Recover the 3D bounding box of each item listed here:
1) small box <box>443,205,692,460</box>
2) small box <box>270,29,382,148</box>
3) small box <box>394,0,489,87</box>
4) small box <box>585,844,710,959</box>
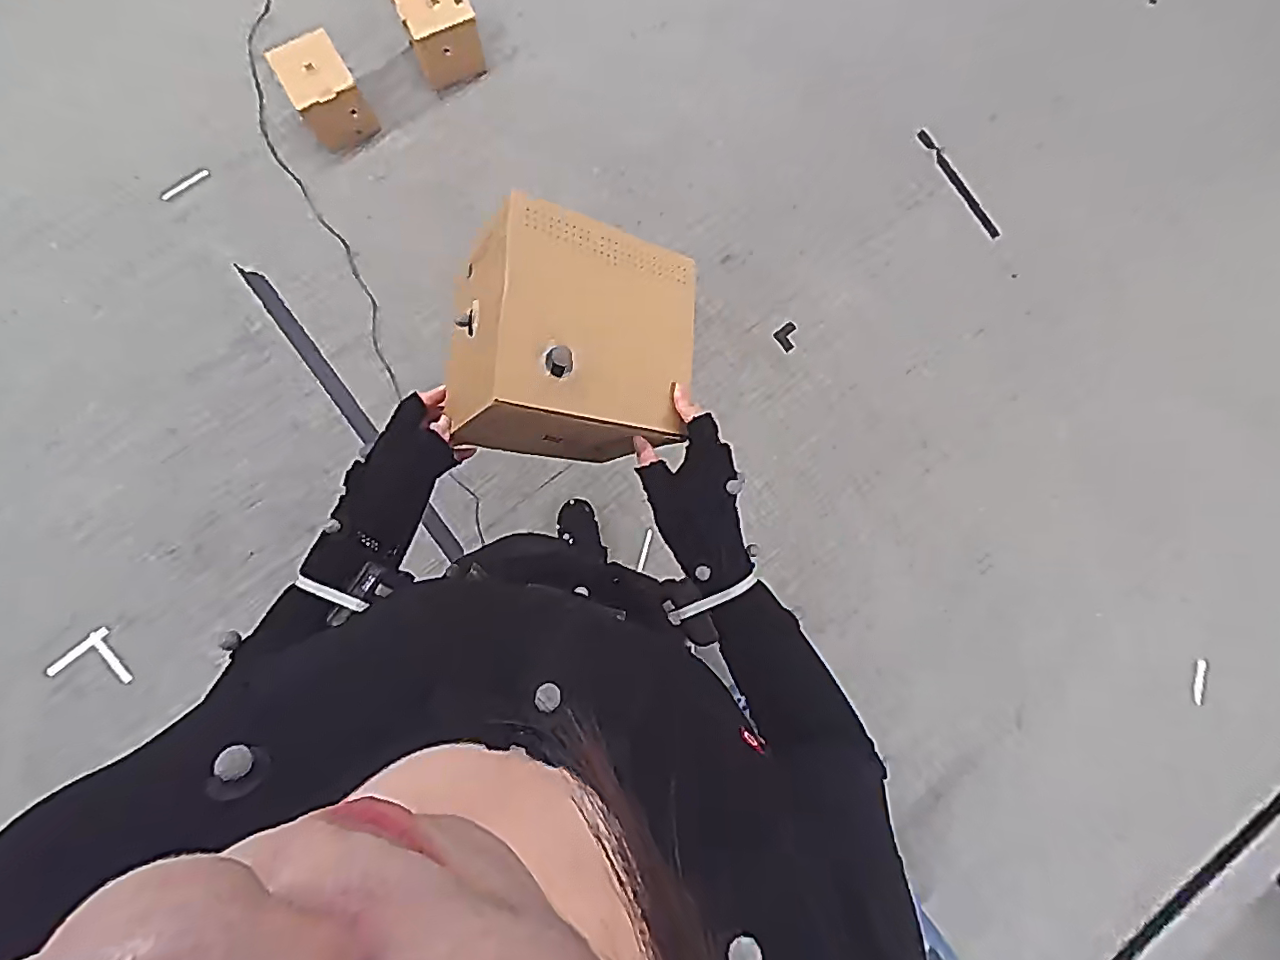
[{"bbox_3d":[-0.068,-0.121,0.502,0.179,0.168,0.176,7,82,-32],"label":"small box"},{"bbox_3d":[-0.833,-1.039,1.456,0.168,0.176,0.179,-30,88,-6],"label":"small box"},{"bbox_3d":[-0.540,-1.236,1.487,0.179,0.176,0.168,-27,89,-5],"label":"small box"},{"bbox_3d":[0.009,0.856,1.039,0.179,0.176,0.168,-31,89,-4],"label":"small box"}]
